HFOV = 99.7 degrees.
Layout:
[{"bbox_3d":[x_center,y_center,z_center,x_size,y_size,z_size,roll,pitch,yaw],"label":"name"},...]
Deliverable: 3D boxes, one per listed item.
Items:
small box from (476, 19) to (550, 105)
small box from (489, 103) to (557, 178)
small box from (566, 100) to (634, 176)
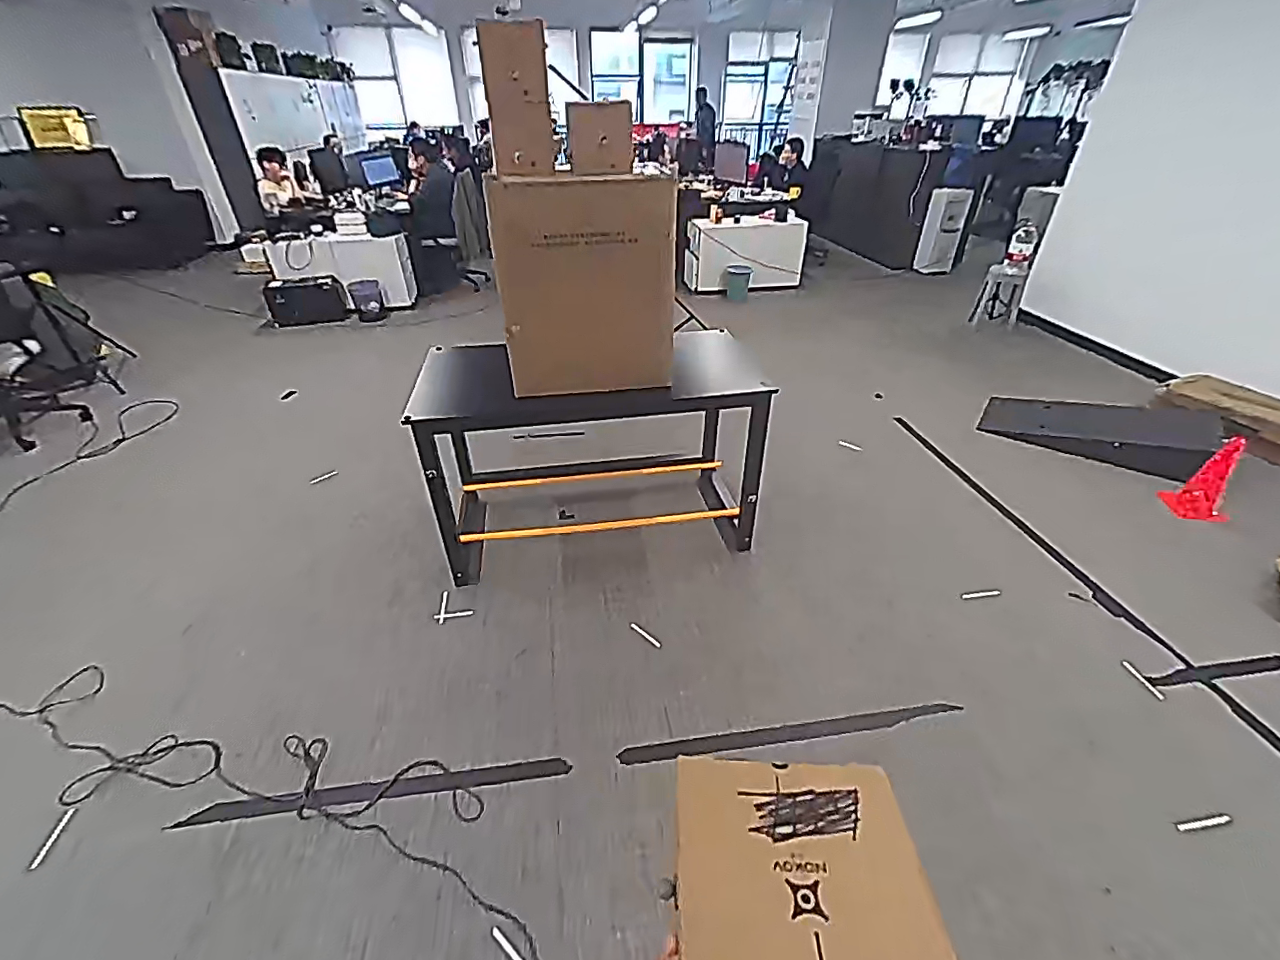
[{"bbox_3d":[-0.332,-1.092,1.424,0.168,0.176,0.179,-7,36,-10],"label":"small box"},{"bbox_3d":[-0.330,-0.959,1.522,0.168,0.176,0.179,-9,37,-12],"label":"small box"},{"bbox_3d":[-0.113,-0.964,1.526,0.168,0.176,0.179,-8,37,-9],"label":"small box"}]
